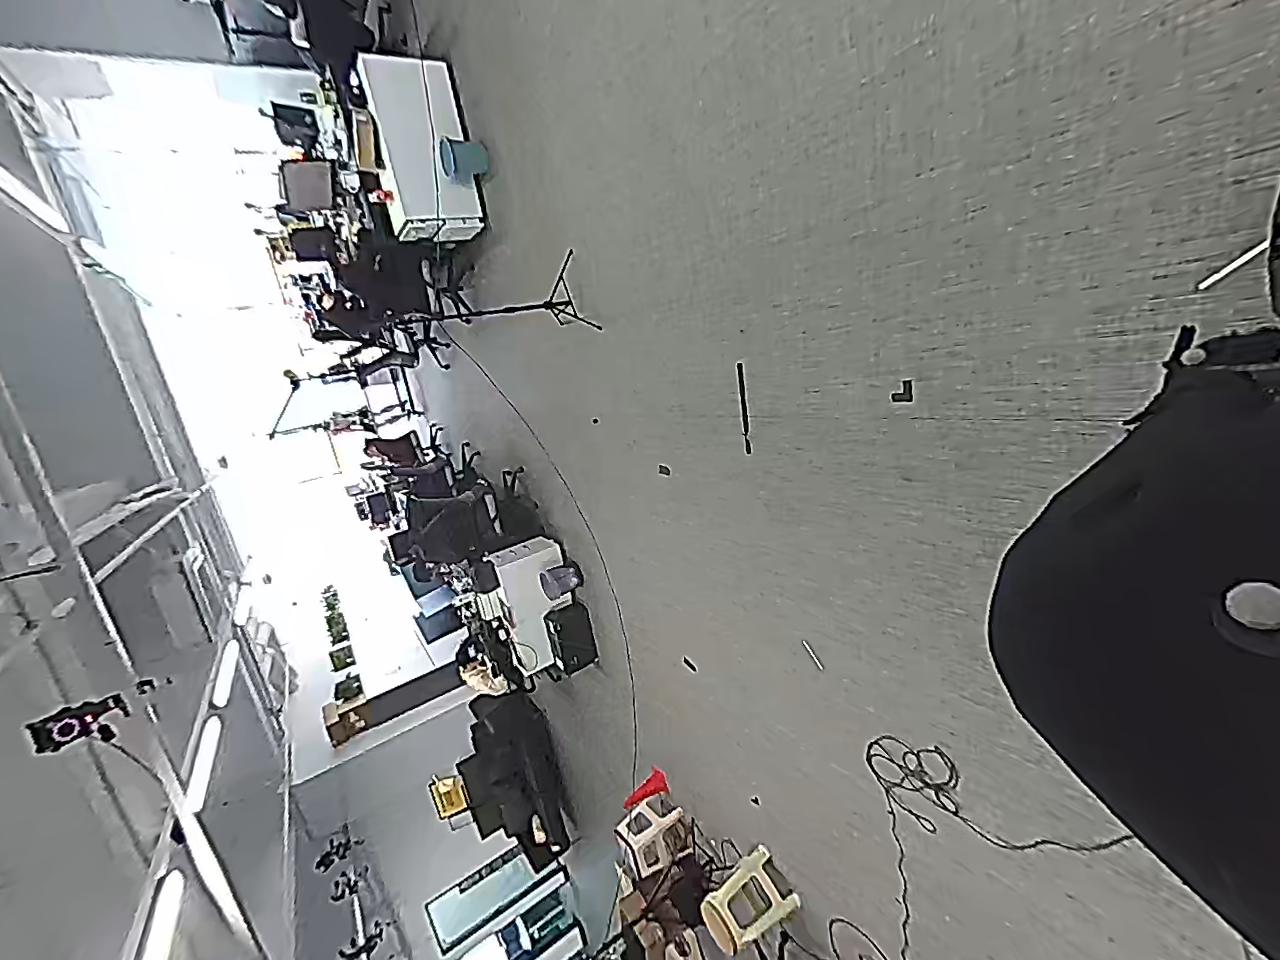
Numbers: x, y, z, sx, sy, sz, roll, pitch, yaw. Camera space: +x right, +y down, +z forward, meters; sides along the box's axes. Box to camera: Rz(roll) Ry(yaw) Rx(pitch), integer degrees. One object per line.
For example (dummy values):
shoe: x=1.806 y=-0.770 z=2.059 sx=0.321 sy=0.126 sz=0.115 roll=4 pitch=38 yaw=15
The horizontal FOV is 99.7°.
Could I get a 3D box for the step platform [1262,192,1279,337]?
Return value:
step platform: x=1.312 y=-0.364 z=0.688 sx=0.684 sy=0.204 sz=0.286 roll=9 pitch=115 yaw=56
